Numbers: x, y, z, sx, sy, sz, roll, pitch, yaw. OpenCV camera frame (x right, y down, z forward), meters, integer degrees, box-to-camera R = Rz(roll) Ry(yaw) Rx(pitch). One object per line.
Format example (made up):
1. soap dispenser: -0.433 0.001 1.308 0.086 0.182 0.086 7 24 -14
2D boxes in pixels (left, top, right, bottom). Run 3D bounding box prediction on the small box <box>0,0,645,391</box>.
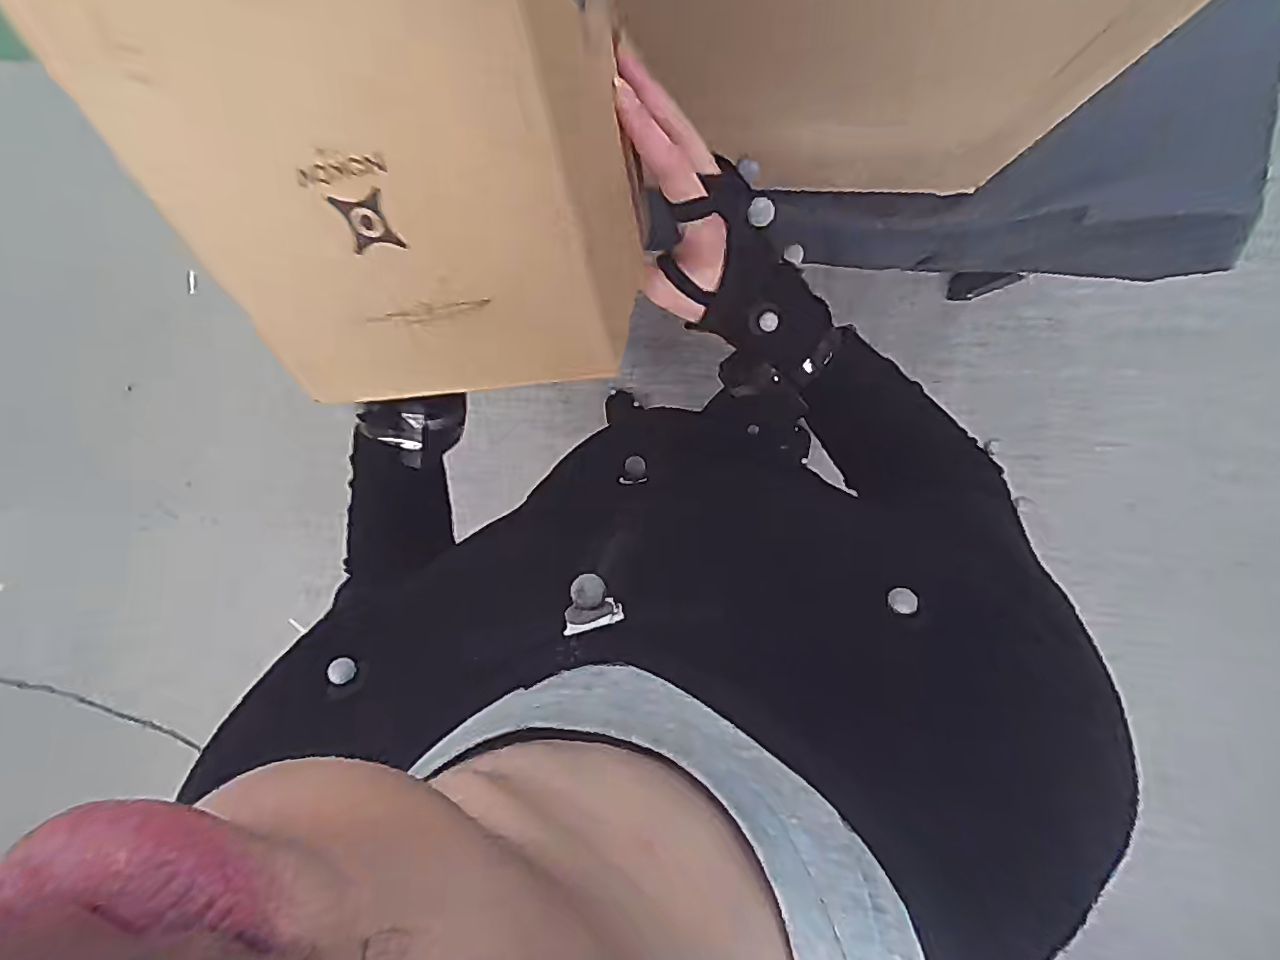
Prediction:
1. small box: -0.096 -0.166 0.245 0.168 0.176 0.179 -3 139 12
